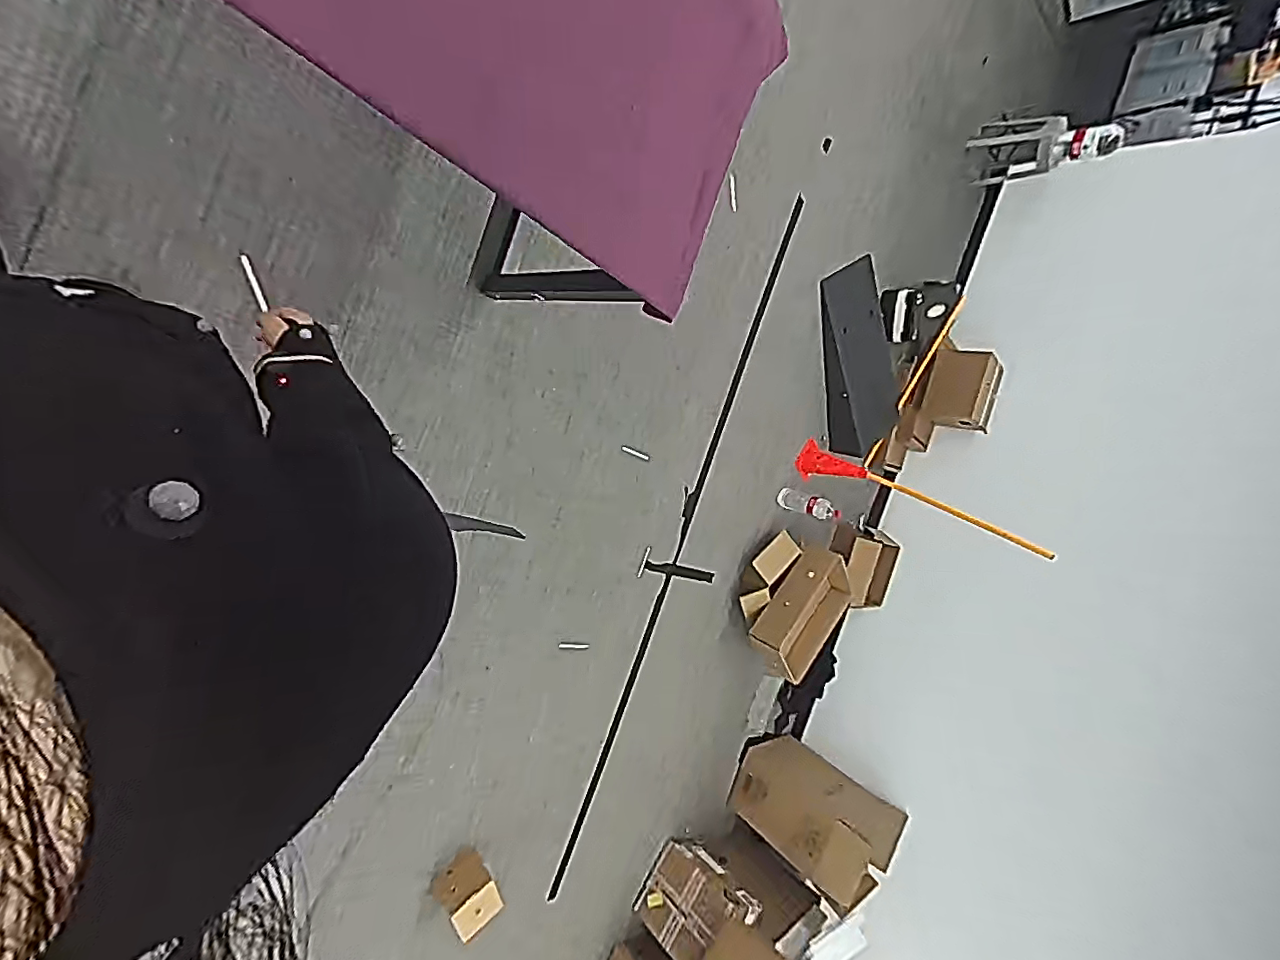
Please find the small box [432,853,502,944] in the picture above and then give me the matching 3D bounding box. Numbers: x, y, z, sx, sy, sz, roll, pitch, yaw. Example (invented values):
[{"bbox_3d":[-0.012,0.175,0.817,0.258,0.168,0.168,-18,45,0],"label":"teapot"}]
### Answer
[{"bbox_3d":[-0.632,1.509,1.964,0.168,0.176,0.179,-27,123,-34],"label":"small box"}]
